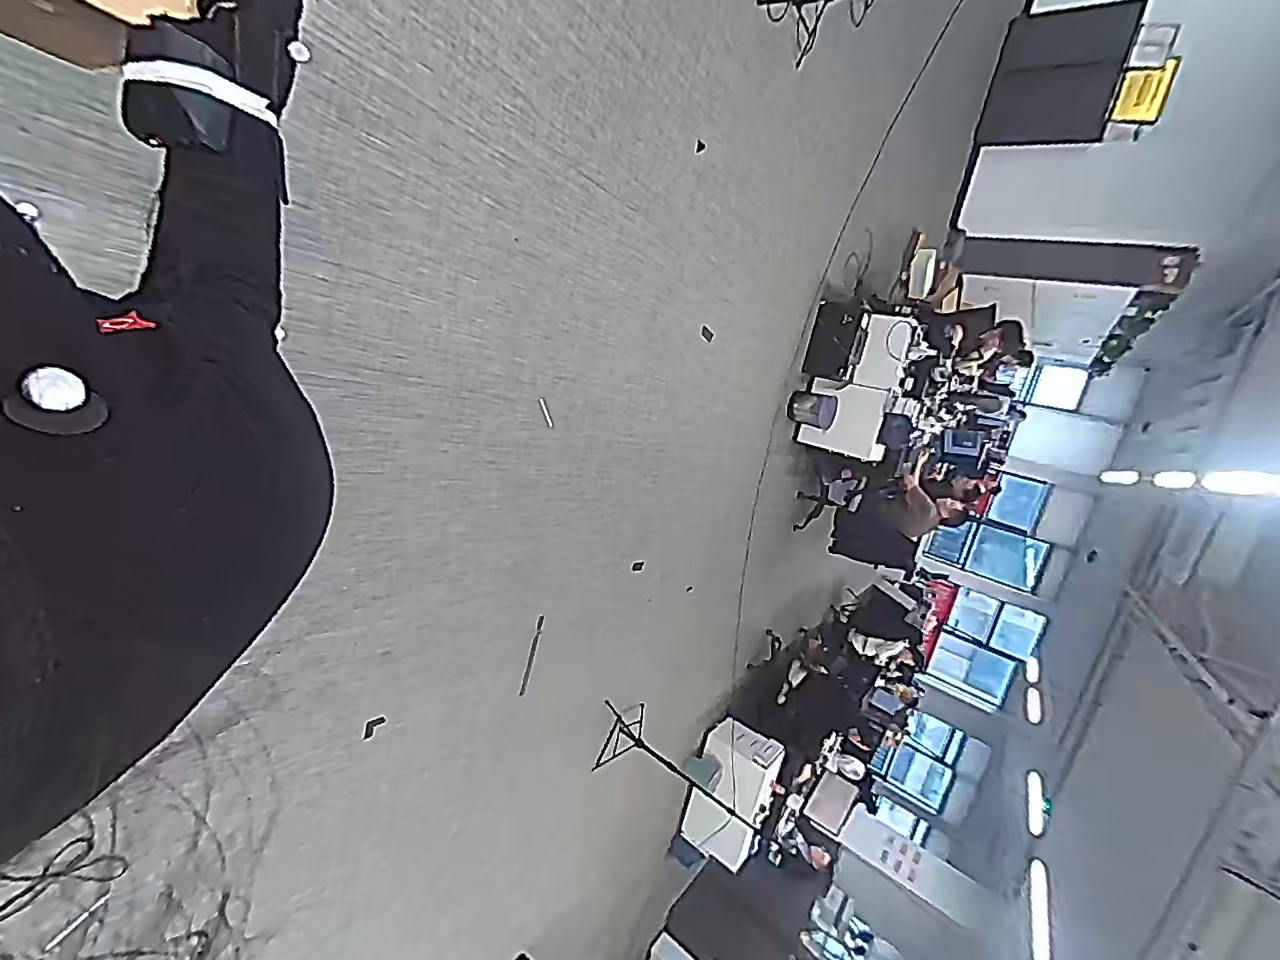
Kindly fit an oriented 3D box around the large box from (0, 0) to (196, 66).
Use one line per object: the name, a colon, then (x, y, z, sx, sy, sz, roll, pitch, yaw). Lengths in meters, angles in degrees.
large box: (-0.505, -0.487, 0.261, 0.408, 0.320, 0.320, -2, 114, -56)
